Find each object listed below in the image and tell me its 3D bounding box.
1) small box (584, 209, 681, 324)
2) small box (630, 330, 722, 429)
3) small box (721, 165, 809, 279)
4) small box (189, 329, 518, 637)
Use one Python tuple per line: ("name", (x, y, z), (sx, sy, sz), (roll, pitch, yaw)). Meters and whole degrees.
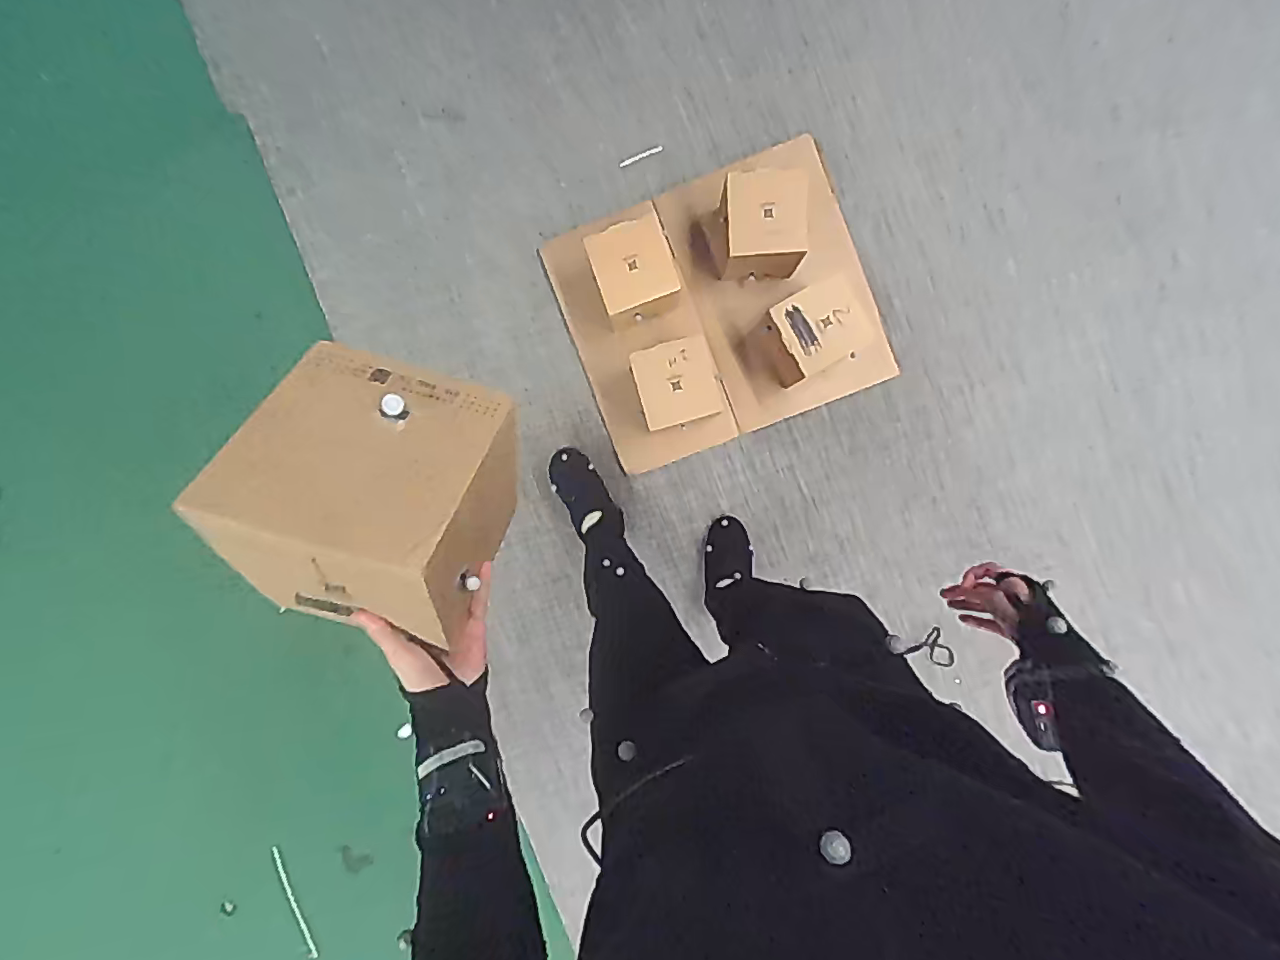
("small box", (-0.010, -0.466, 1.219), (0.168, 0.176, 0.179), (-19, 91, 3))
("small box", (0.081, -0.217, 1.222), (0.168, 0.176, 0.179), (-15, 92, 3))
("small box", (0.271, -0.563, 1.197), (0.168, 0.176, 0.179), (-2, 92, 3))
("small box", (-0.211, 0.006, 0.464), (0.168, 0.179, 0.176), (17, 53, 0))
